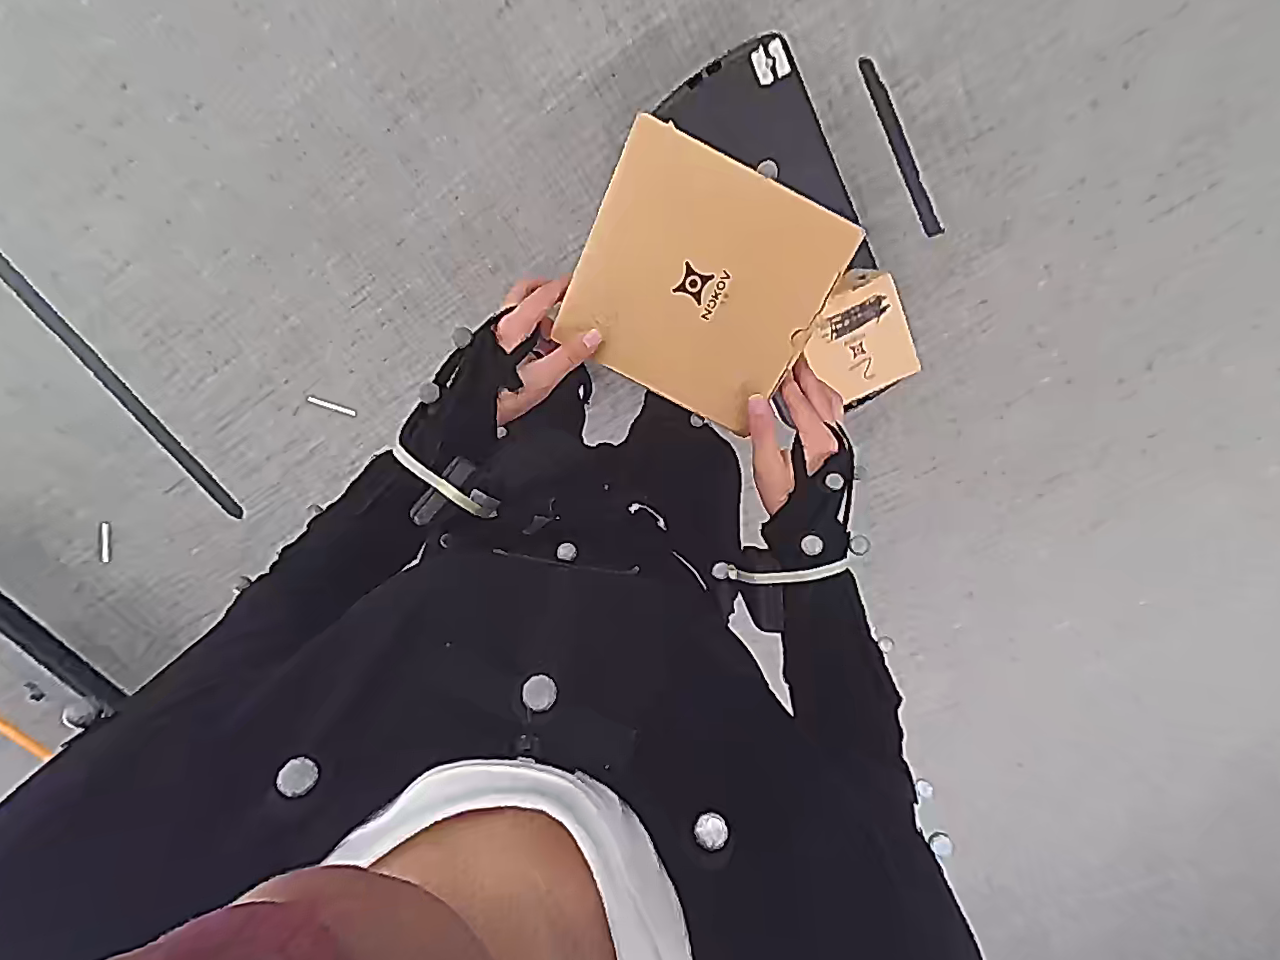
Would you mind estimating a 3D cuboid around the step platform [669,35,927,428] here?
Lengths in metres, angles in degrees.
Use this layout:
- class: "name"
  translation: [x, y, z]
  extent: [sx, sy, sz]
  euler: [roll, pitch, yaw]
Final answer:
- class: "step platform"
  translation: [0.302, -0.444, 1.073]
  extent: [0.286, 0.204, 0.684]
  euler: [-28, 108, 13]

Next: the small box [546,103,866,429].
- class: "small box"
  translation: [0.047, -0.166, 0.459]
  extent: [0.179, 0.176, 0.168]
  euler: [26, 109, -4]
